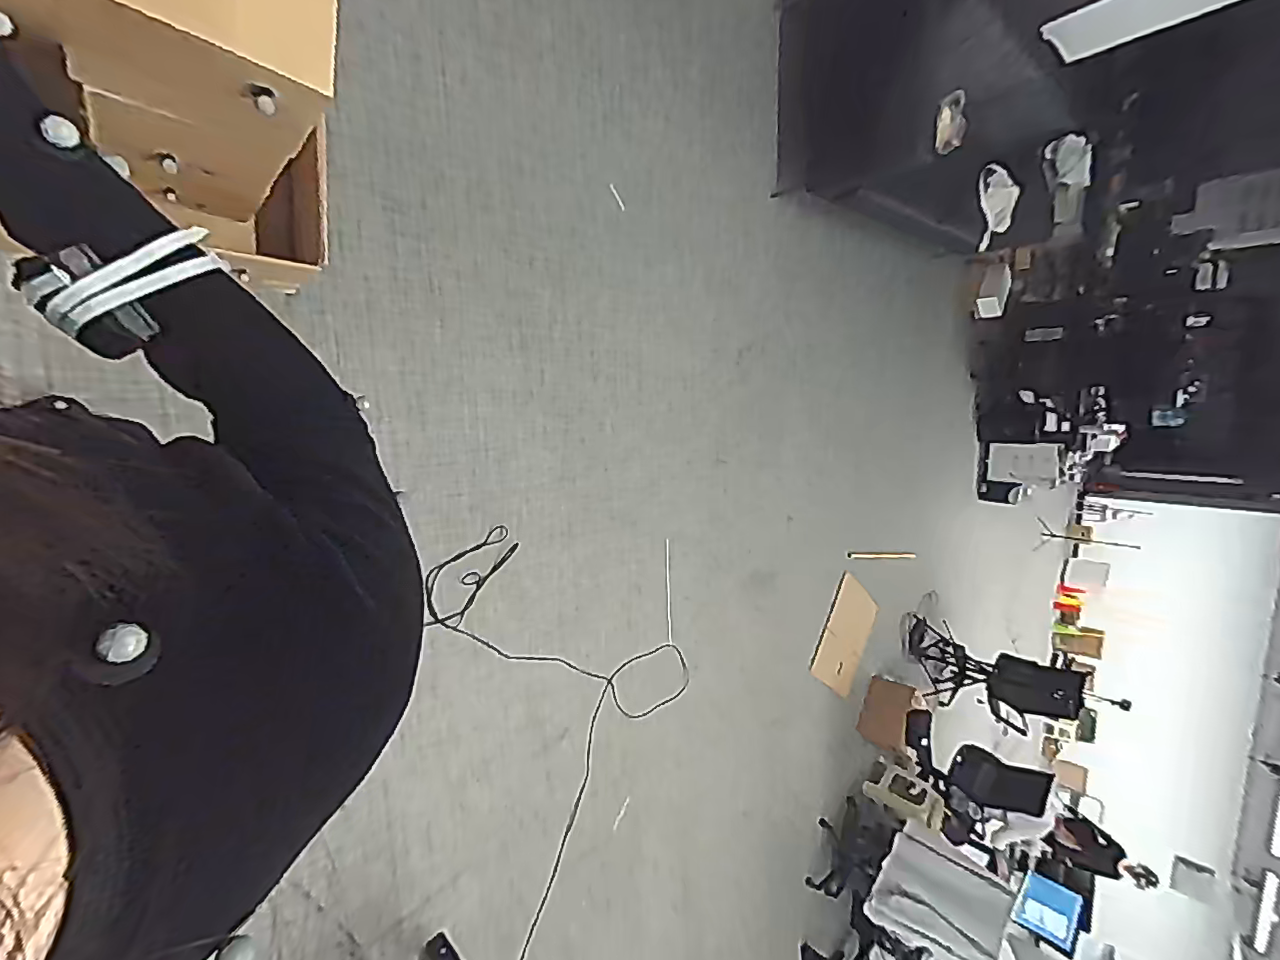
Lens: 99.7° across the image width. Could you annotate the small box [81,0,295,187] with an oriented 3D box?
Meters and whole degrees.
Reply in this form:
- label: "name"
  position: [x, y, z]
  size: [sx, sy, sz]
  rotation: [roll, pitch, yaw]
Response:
- label: "small box"
  position: [-0.494, -0.458, 0.594]
  size: [0.168, 0.176, 0.179]
  rotation: [-1, 98, -42]
